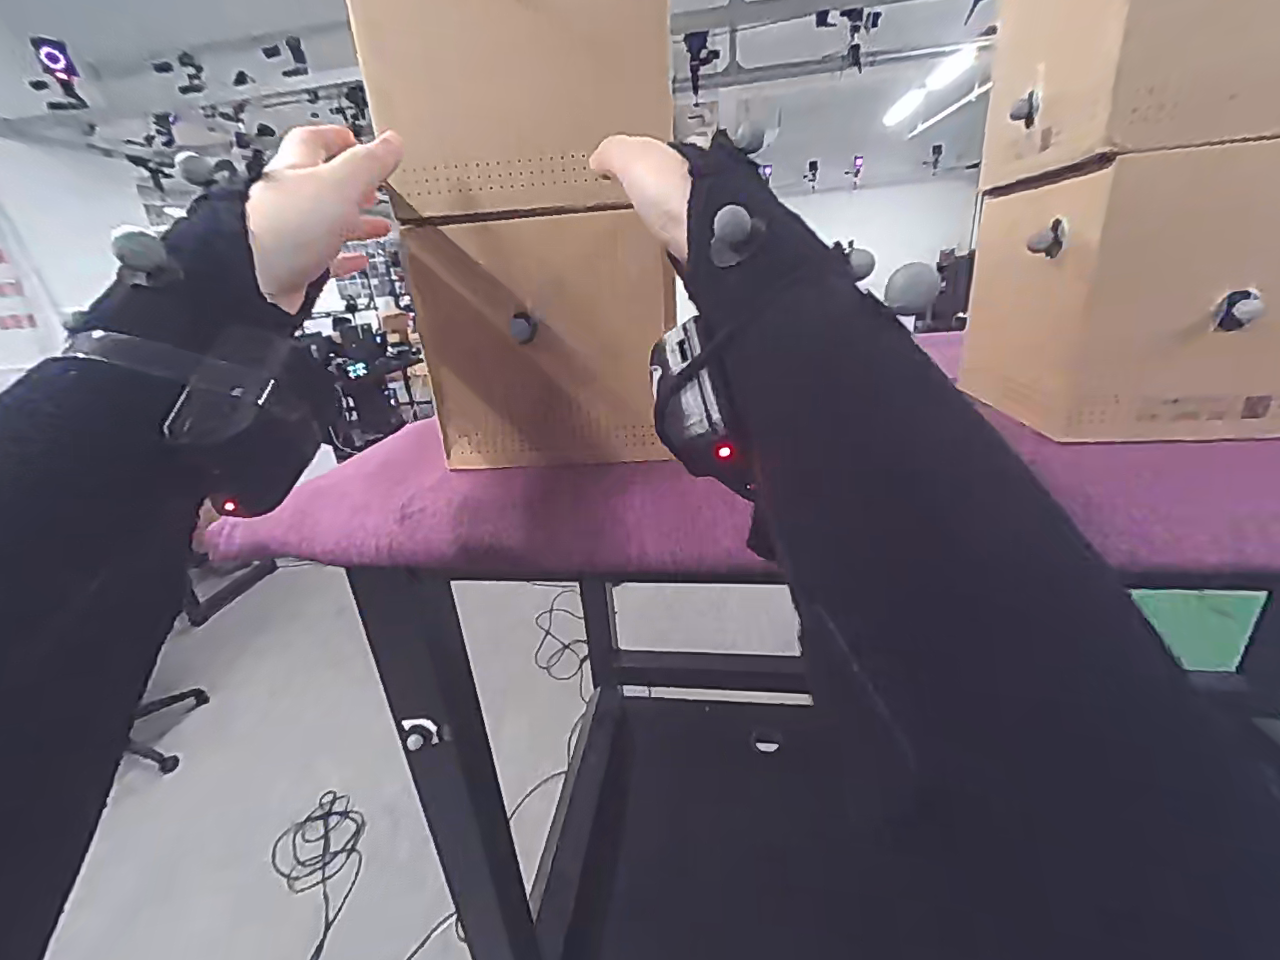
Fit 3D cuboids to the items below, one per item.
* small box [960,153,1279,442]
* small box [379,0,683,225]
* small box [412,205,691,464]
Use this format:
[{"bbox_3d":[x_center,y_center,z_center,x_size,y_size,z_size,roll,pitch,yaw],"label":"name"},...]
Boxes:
[{"bbox_3d":[0.362,-0.129,0.396,0.168,0.176,0.179,0,21,10],"label":"small box"},{"bbox_3d":[-0.063,-0.269,0.379,0.179,0.176,0.168,-2,23,2],"label":"small box"},{"bbox_3d":[-0.051,-0.116,0.442,0.179,0.176,0.168,-2,22,4],"label":"small box"}]
